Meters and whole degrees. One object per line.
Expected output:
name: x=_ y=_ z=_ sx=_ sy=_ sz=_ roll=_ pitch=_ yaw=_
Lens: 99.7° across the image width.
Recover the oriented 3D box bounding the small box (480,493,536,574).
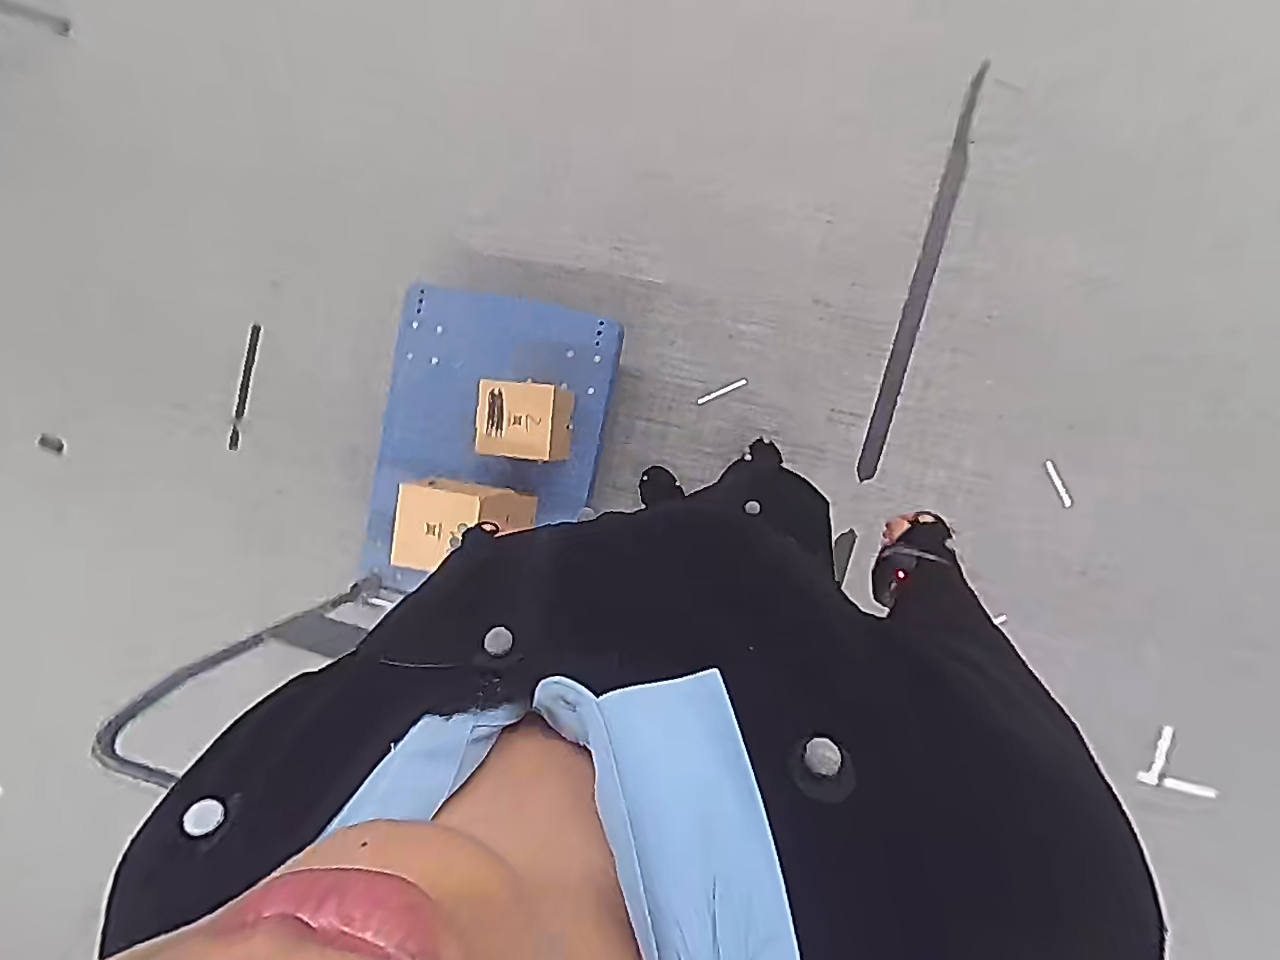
small box: x=-0.368 y=0.116 z=1.298 sx=0.179 sy=0.176 sz=0.168 roll=9 pitch=94 yaw=8

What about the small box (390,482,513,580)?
small box: x=-0.389 y=0.099 z=1.133 sx=0.179 sy=0.176 sz=0.168 roll=9 pitch=95 yaw=8
